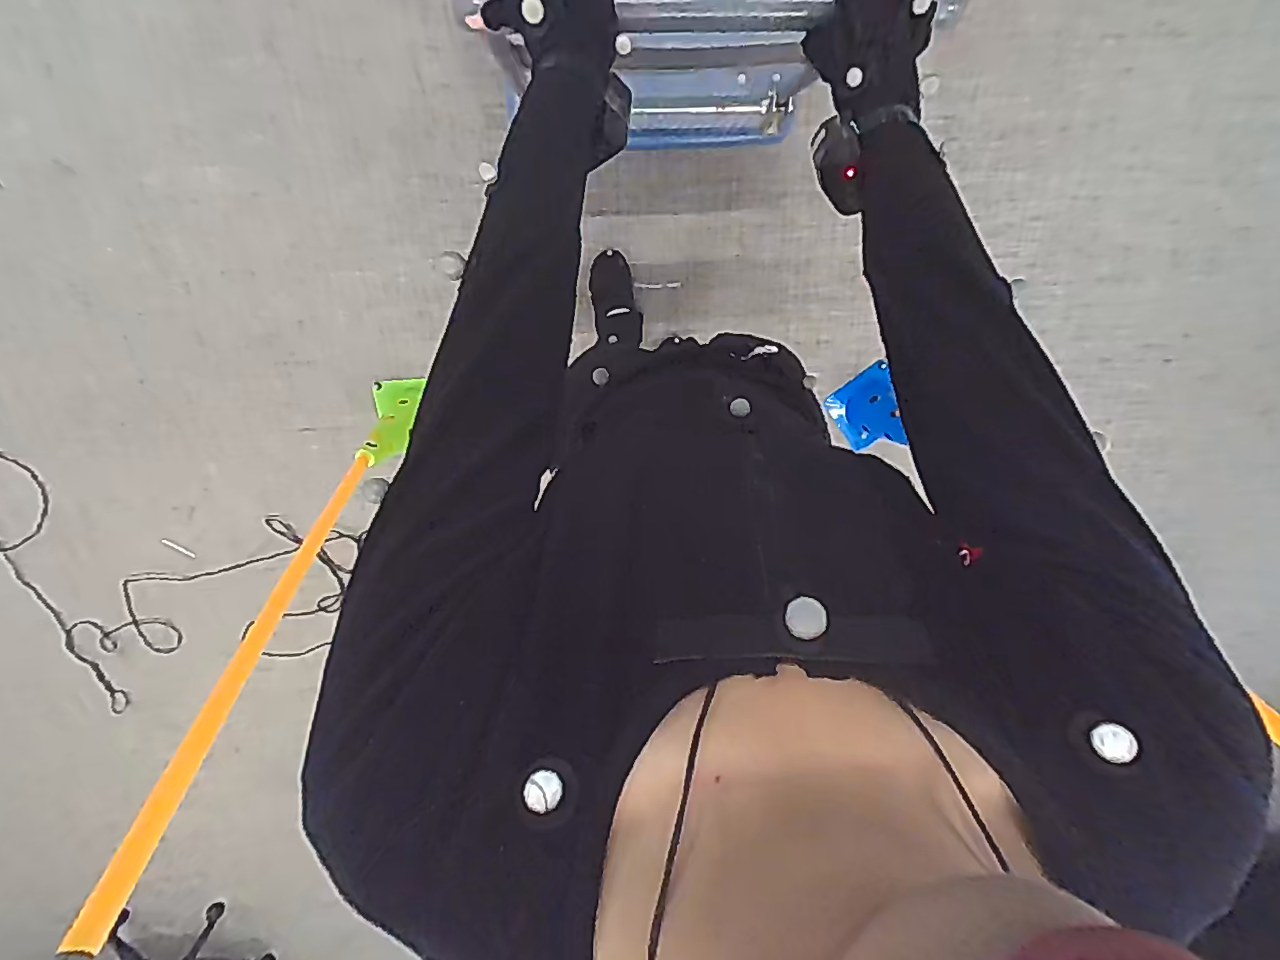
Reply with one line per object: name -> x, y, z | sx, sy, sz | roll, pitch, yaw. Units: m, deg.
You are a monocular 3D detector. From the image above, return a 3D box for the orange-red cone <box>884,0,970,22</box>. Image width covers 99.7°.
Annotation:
orange-red cone -> 0.640, -1.050, 0.994 | 0.198, 0.360, 0.199 | 8, 111, -6
